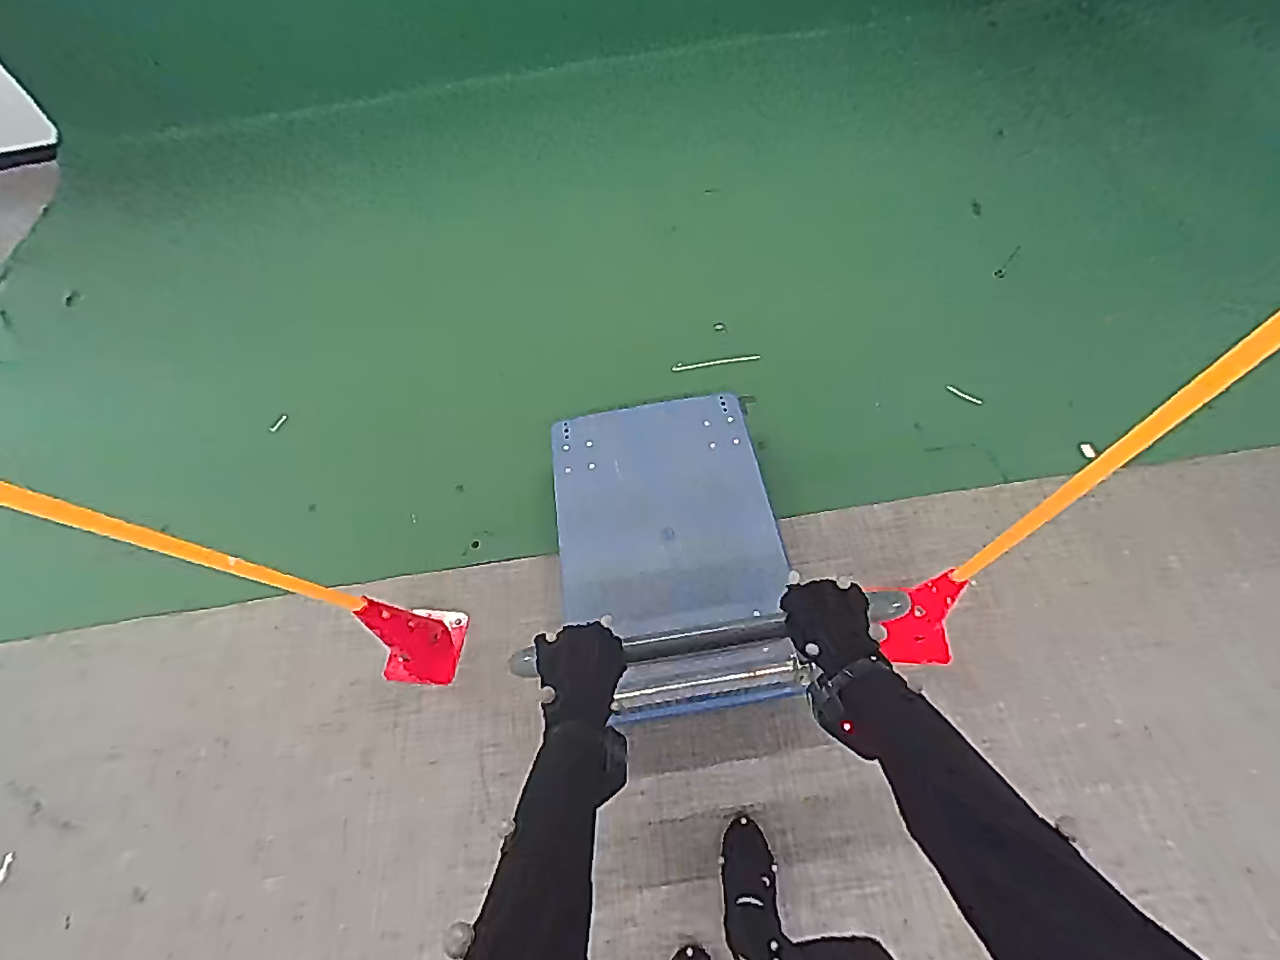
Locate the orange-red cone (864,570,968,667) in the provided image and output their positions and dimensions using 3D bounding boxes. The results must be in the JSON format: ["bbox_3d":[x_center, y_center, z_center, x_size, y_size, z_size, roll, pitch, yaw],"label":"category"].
[{"bbox_3d":[0.680,0.297,1.267,0.198,0.360,0.199,0,59,7],"label":"orange-red cone"}]
